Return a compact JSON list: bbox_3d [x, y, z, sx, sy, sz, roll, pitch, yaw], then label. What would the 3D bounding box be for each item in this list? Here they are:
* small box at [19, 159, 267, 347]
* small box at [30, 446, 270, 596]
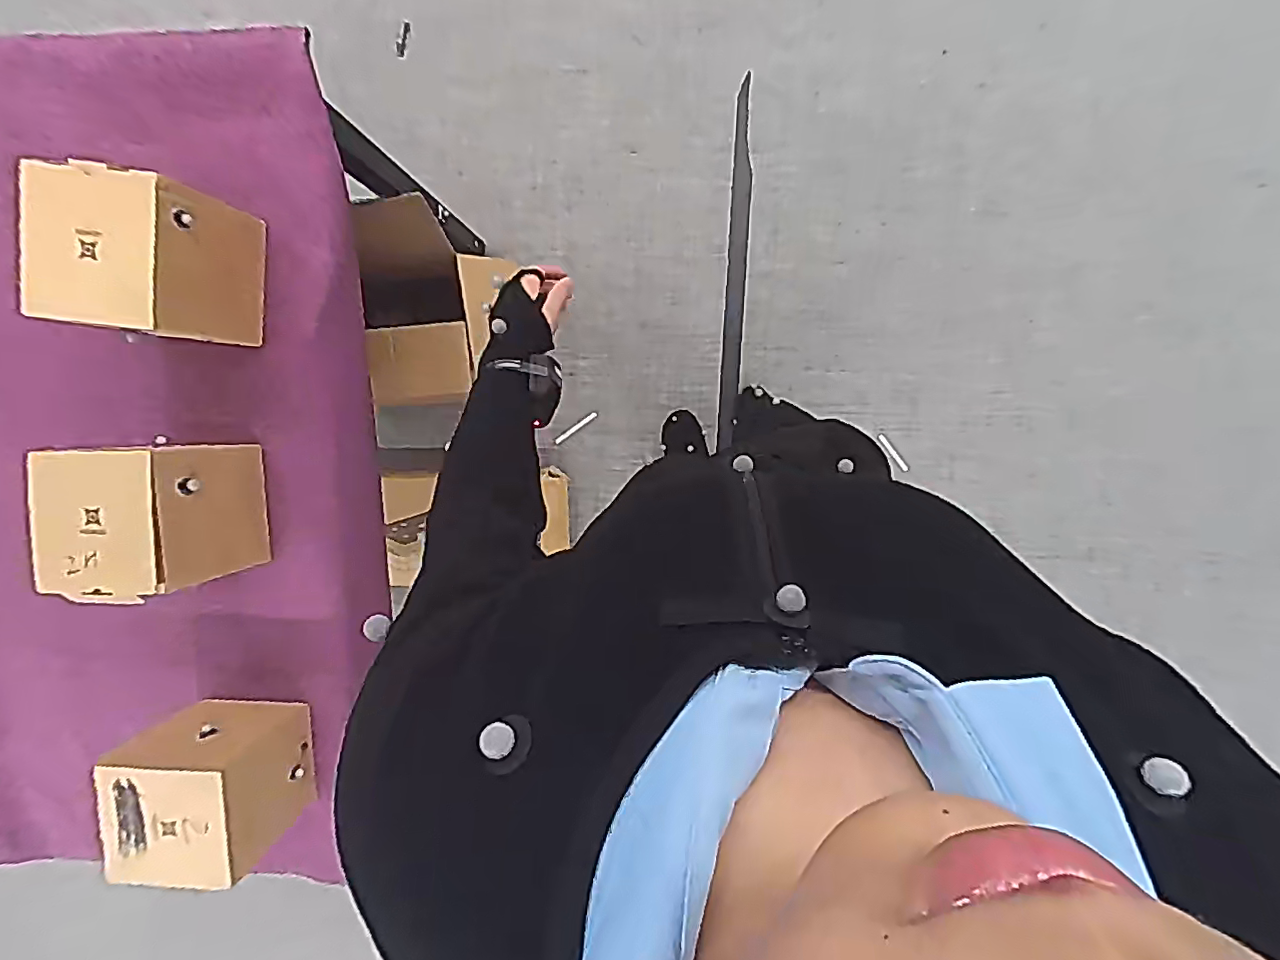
[{"bbox_3d":[-0.614,-0.272,0.687,0.168,0.176,0.179,7,96,3],"label":"small box"},{"bbox_3d":[-0.635,0.044,0.722,0.168,0.176,0.179,0,96,6],"label":"small box"}]
